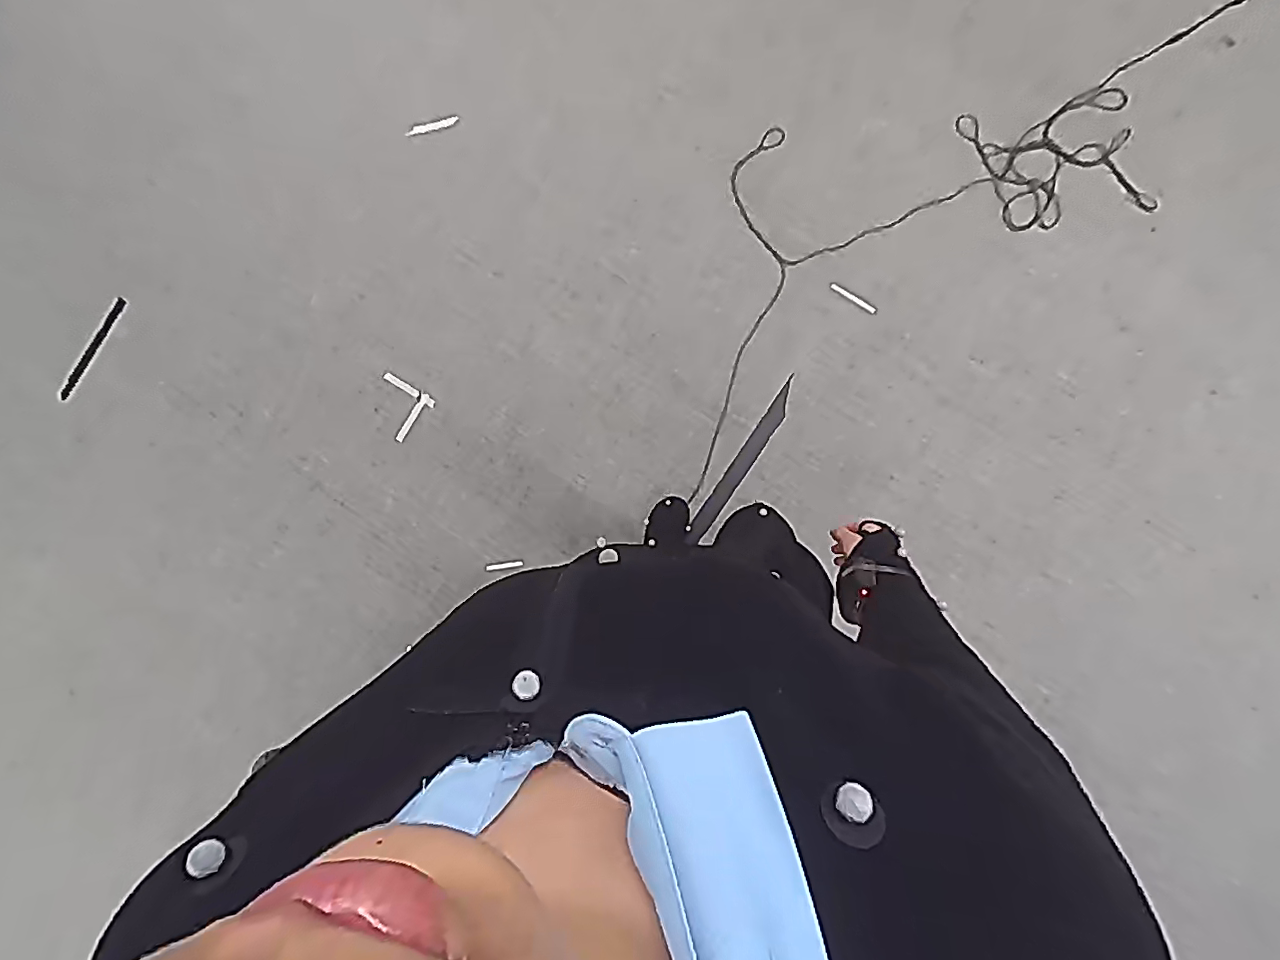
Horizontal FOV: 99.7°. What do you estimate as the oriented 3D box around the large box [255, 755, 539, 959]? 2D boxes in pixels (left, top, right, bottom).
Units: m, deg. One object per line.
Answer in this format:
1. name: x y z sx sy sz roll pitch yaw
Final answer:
1. large box: -0.497 0.900 1.185 0.408 0.320 0.320 33 90 5
